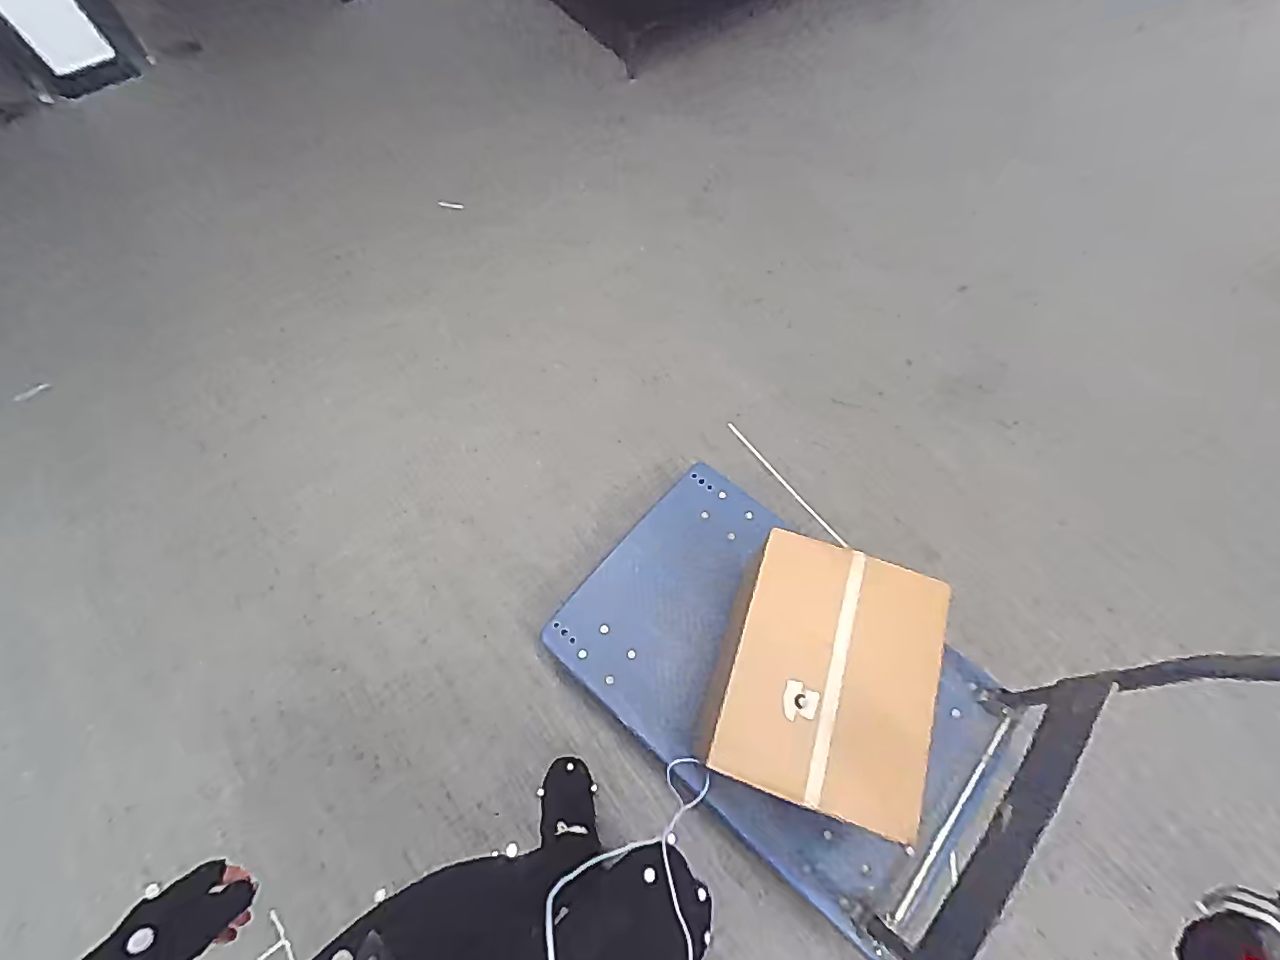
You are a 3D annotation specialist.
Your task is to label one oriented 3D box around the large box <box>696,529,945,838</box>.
[{"bbox_3d":[0.317,0.357,1.009,0.320,0.320,0.408,18,69,8],"label":"large box"}]
